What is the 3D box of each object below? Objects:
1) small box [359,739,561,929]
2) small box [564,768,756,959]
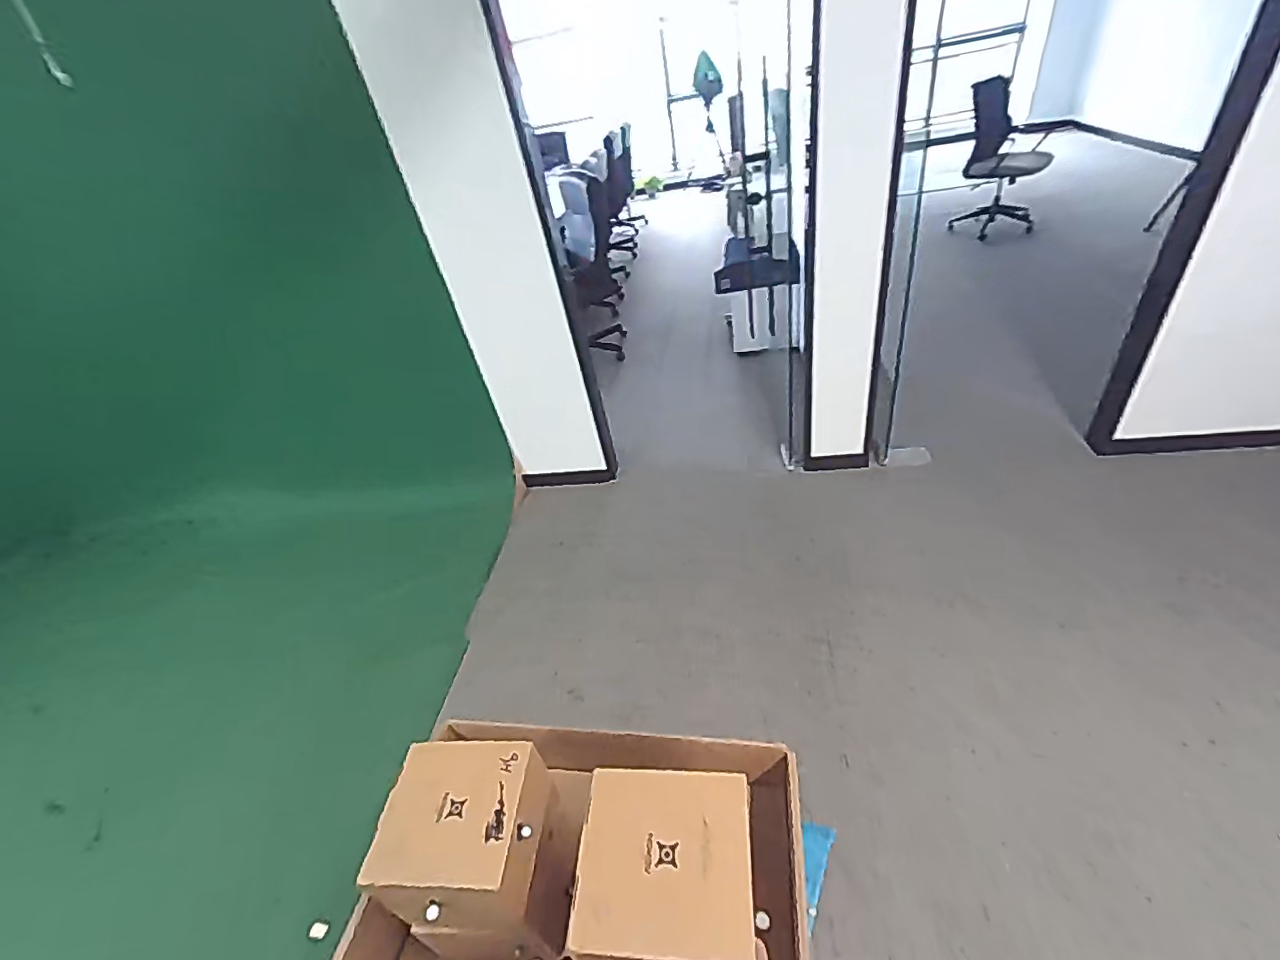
[{"bbox_3d":[-0.220,0.465,0.714,0.179,0.176,0.168,-4,38,8],"label":"small box"},{"bbox_3d":[0.034,0.441,0.593,0.179,0.176,0.168,-2,38,9],"label":"small box"}]
